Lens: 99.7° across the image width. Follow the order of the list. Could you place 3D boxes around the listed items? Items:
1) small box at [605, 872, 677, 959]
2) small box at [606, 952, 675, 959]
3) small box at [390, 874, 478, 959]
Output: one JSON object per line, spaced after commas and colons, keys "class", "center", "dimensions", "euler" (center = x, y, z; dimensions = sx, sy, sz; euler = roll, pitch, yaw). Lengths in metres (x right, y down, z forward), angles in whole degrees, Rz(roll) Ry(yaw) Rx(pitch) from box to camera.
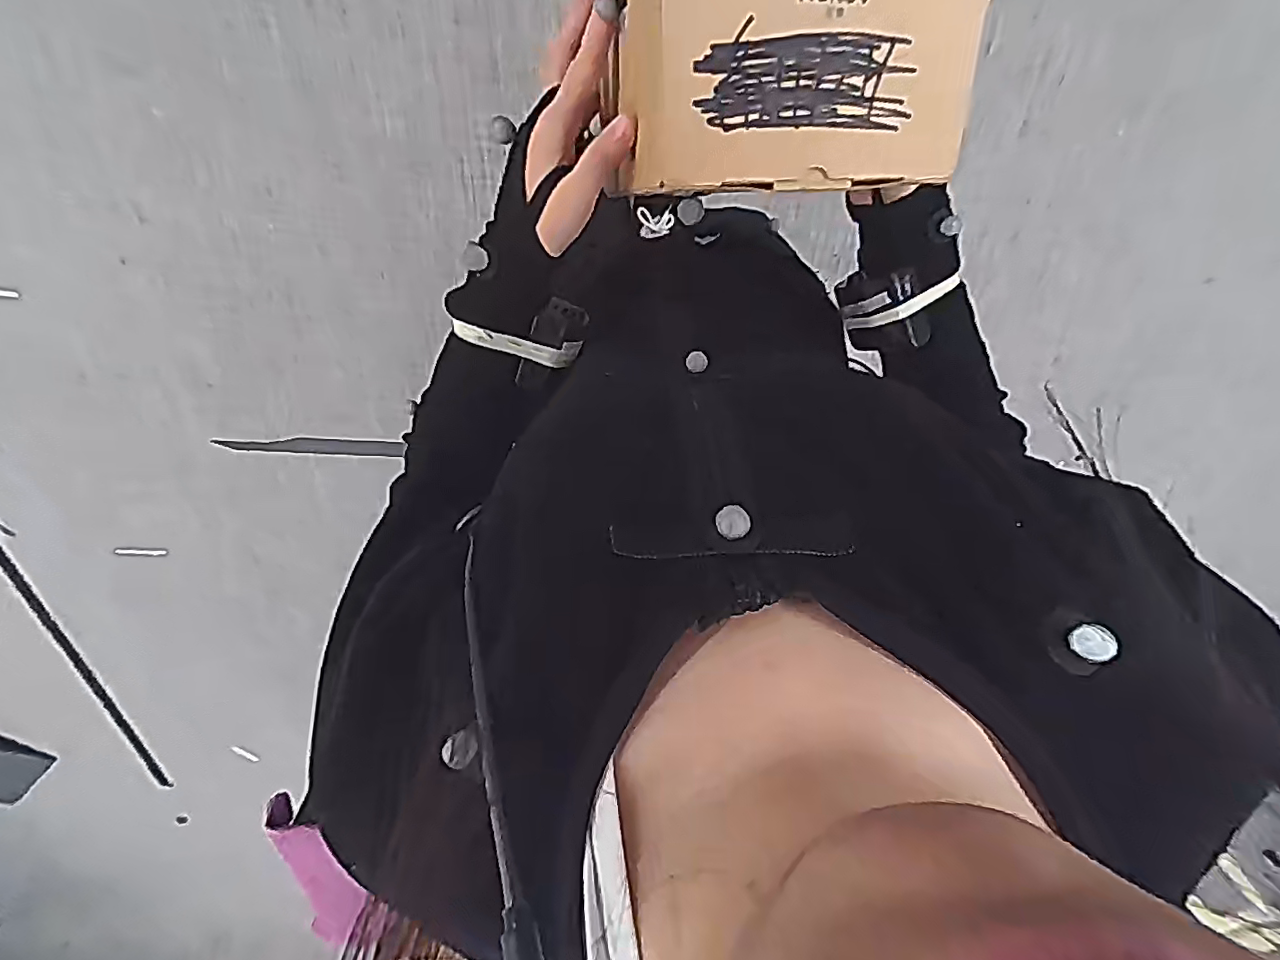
{"class": "small box", "center": [-0.004, 1.126, 1.373], "dimensions": [0.168, 0.176, 0.179], "euler": [3, 122, -4]}
{"class": "small box", "center": [0.000, 1.217, 1.237], "dimensions": [0.168, 0.176, 0.179], "euler": [2, 122, -3]}
{"class": "small box", "center": [-0.507, 1.123, 1.353], "dimensions": [0.168, 0.176, 0.179], "euler": [6, 121, -7]}
